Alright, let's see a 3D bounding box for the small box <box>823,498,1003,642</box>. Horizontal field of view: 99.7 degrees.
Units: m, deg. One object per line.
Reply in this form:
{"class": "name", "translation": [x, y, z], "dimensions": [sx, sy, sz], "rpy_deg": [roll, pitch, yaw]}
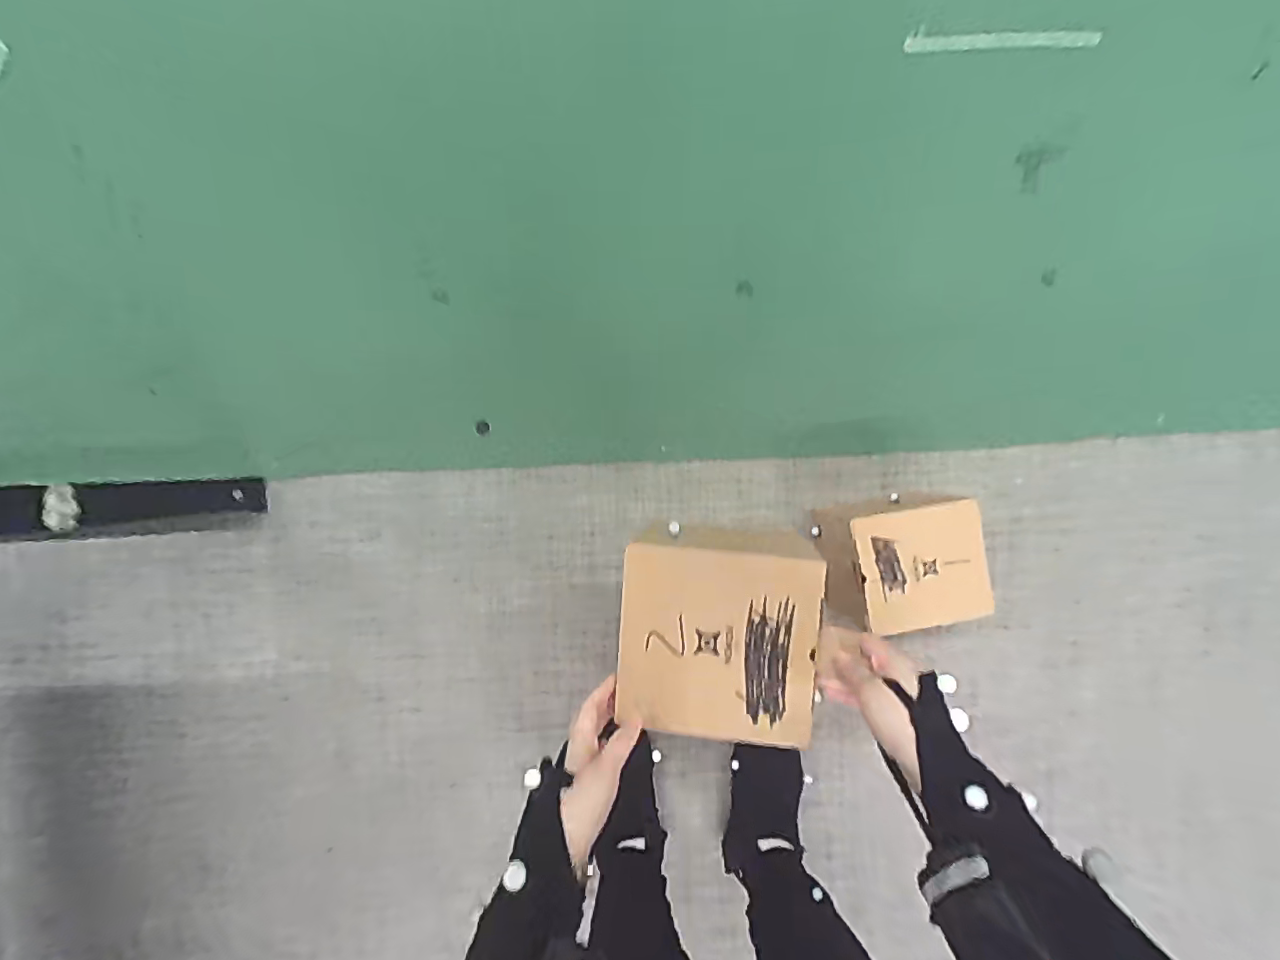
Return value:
{"class": "small box", "translation": [0.386, 0.122, 0.799], "dimensions": [0.179, 0.176, 0.168], "rpy_deg": [-10, 91, -1]}
